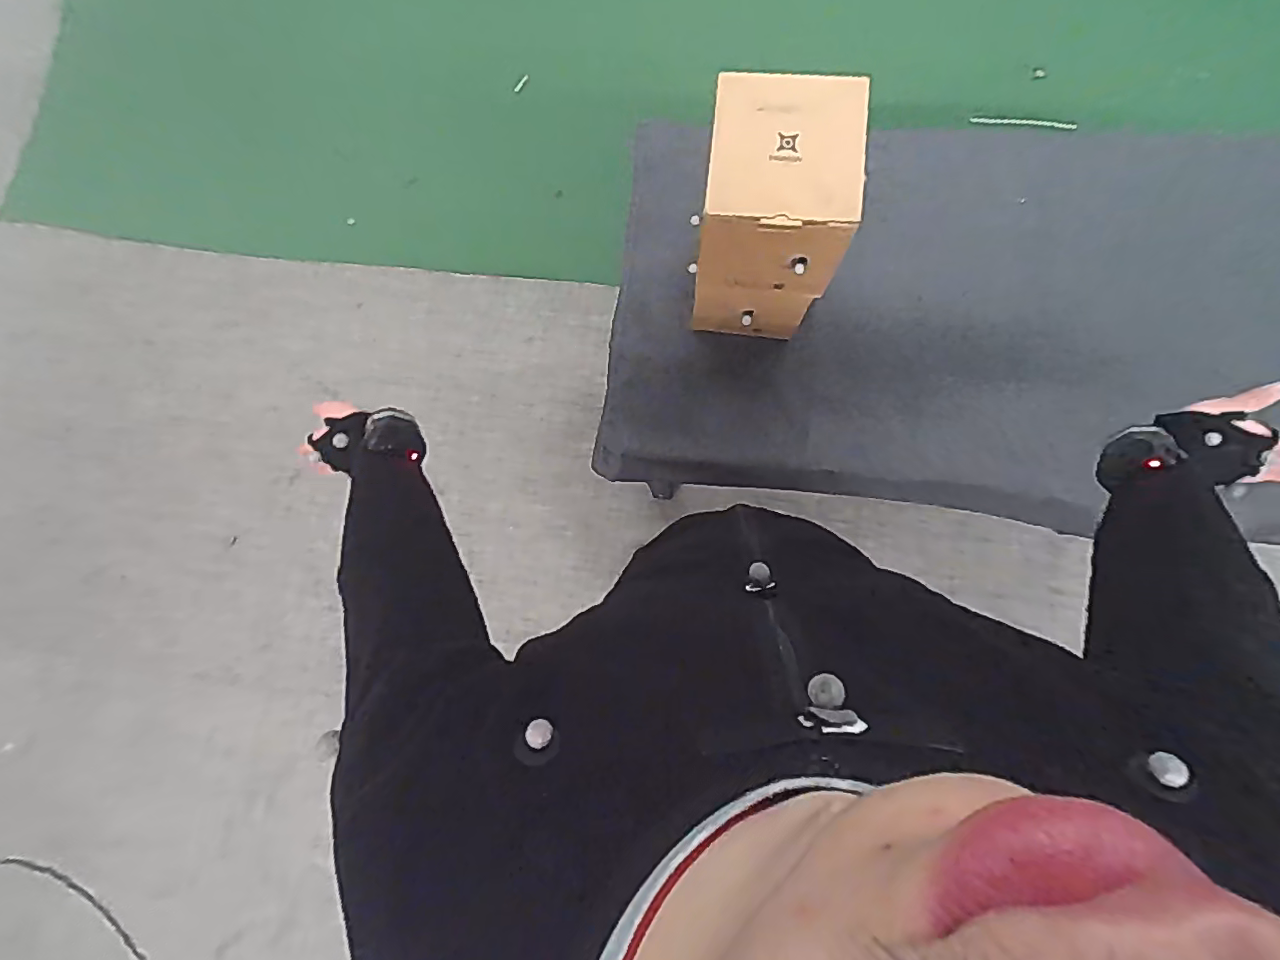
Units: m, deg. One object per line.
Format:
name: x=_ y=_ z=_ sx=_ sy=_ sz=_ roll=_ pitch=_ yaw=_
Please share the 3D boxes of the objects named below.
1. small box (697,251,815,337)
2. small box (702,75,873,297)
small box: x=0.179 y=-0.334 z=0.823 sx=0.168 sy=0.176 sz=0.179 roll=8 pitch=82 yaw=4
small box: x=0.168 y=-0.344 z=0.661 sx=0.168 sy=0.176 sz=0.179 roll=6 pitch=81 yaw=4
